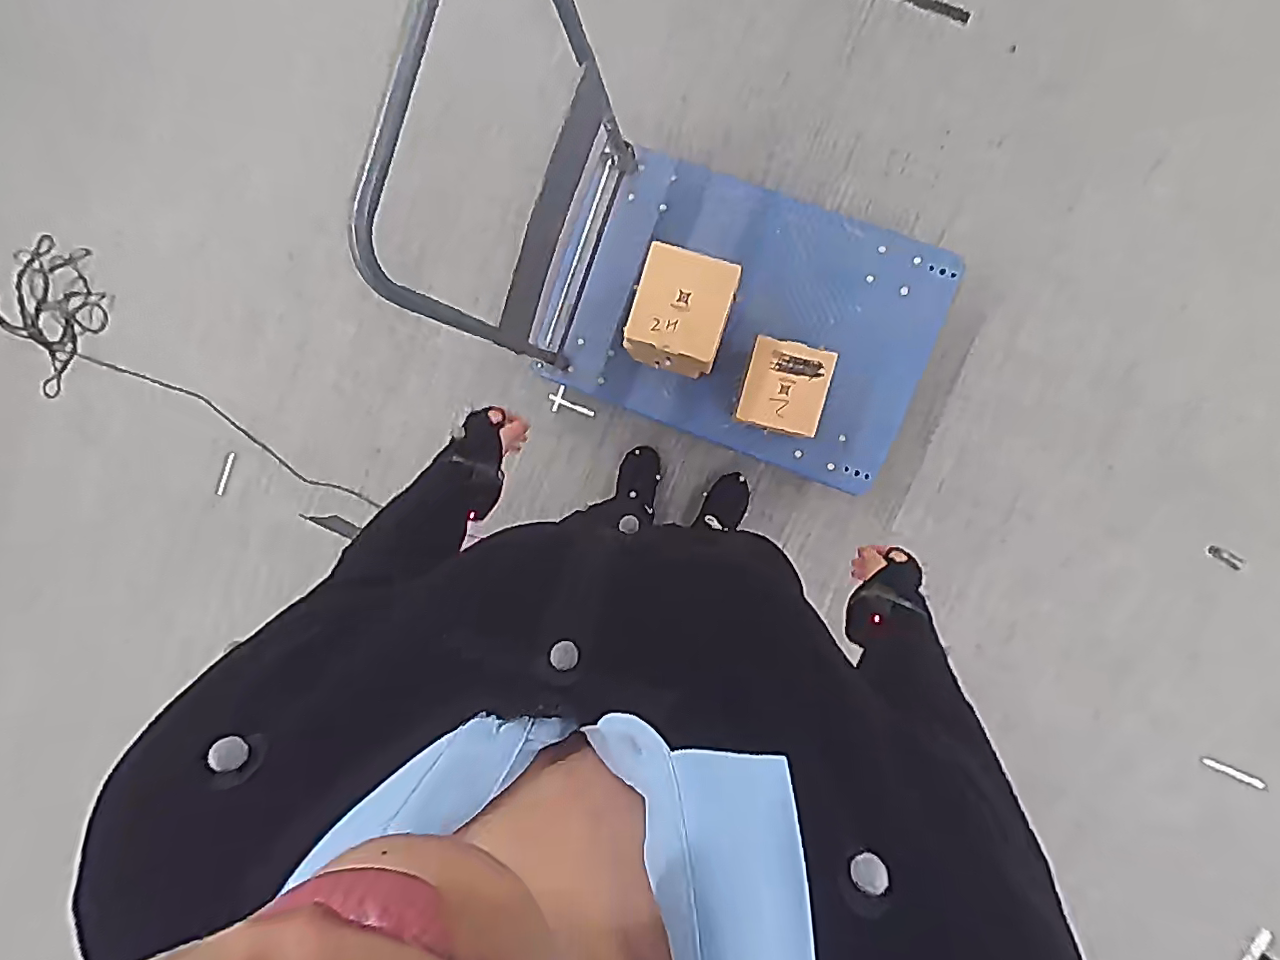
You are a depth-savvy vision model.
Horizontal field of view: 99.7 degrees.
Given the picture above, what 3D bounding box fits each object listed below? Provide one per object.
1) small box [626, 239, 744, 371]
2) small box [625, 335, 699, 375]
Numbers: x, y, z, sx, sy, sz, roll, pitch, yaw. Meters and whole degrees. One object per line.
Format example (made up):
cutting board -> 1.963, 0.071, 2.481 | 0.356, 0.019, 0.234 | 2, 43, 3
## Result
small box -> 0.083, -0.319, 1.020 | 0.168, 0.176, 0.179 | 18, 97, 4
small box -> 0.076, -0.342, 1.185 | 0.168, 0.176, 0.179 | 18, 97, 4
